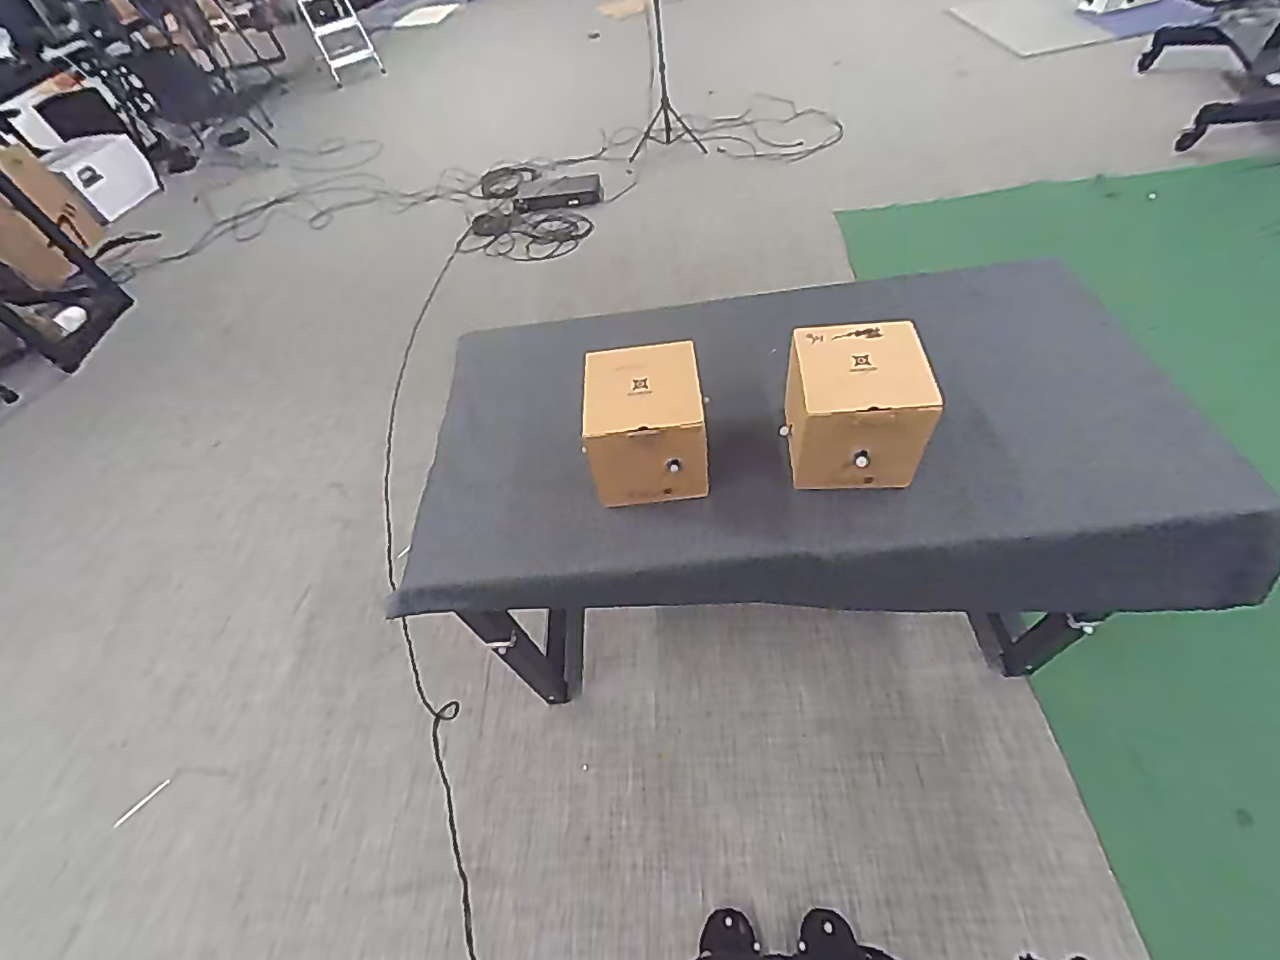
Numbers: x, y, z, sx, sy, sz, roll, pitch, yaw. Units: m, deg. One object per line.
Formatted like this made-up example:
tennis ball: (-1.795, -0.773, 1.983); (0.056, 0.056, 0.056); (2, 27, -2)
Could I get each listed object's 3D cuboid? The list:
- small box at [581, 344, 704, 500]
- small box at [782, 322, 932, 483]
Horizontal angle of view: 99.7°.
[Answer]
small box: (0.007, -0.081, 0.837); (0.168, 0.176, 0.179); (-6, 51, 3)
small box: (0.305, -0.106, 0.801); (0.168, 0.176, 0.179); (-2, 54, 9)
